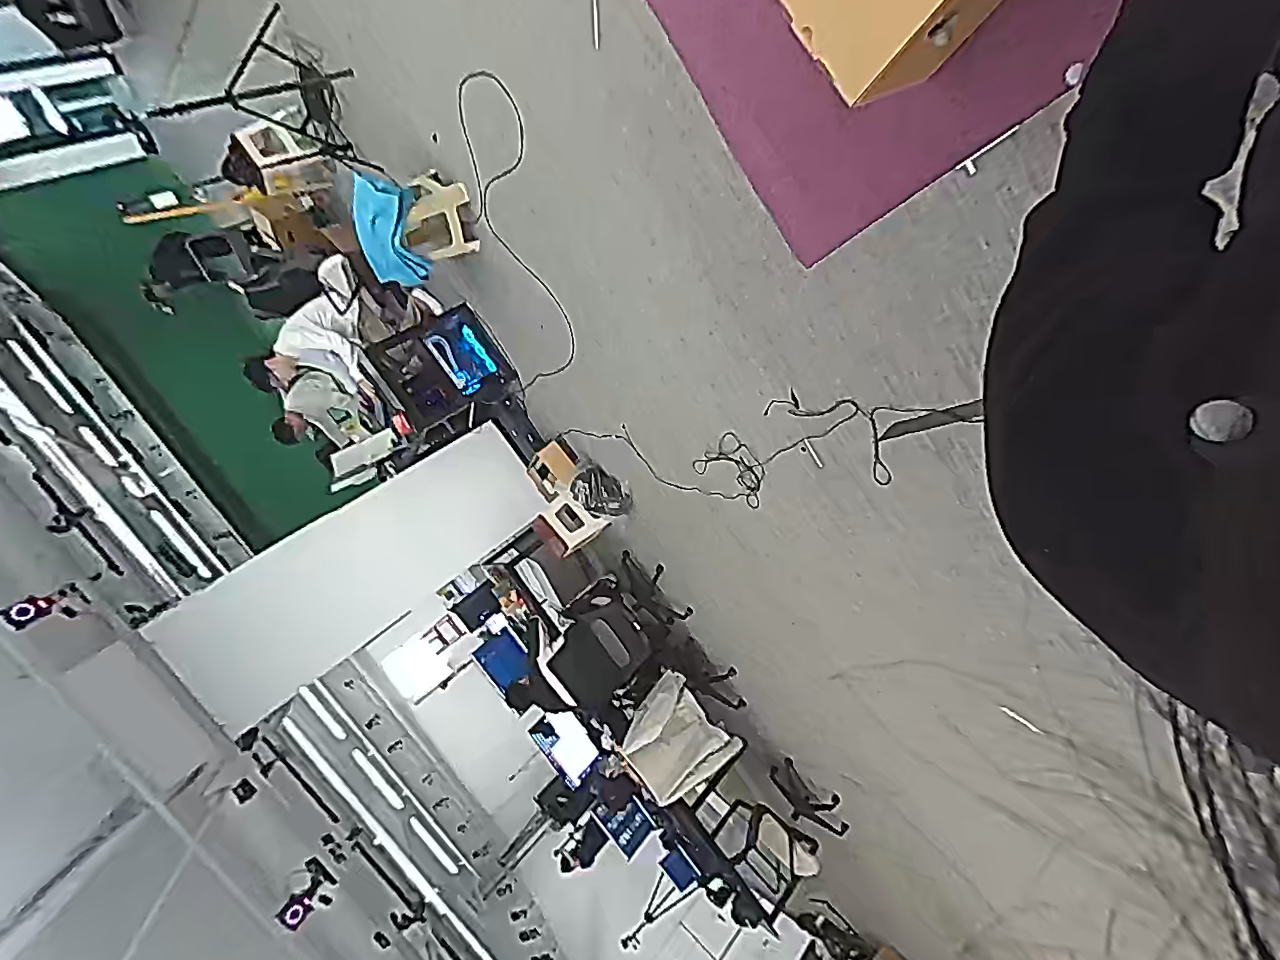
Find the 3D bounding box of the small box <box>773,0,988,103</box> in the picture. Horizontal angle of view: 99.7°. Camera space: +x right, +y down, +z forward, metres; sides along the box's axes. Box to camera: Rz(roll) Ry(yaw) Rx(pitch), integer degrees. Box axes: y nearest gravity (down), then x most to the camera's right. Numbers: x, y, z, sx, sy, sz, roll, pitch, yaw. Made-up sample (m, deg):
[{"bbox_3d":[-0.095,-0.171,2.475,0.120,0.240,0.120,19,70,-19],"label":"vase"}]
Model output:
[{"bbox_3d":[0.250,-0.508,0.503,0.168,0.176,0.179,53,152,-3],"label":"small box"}]
